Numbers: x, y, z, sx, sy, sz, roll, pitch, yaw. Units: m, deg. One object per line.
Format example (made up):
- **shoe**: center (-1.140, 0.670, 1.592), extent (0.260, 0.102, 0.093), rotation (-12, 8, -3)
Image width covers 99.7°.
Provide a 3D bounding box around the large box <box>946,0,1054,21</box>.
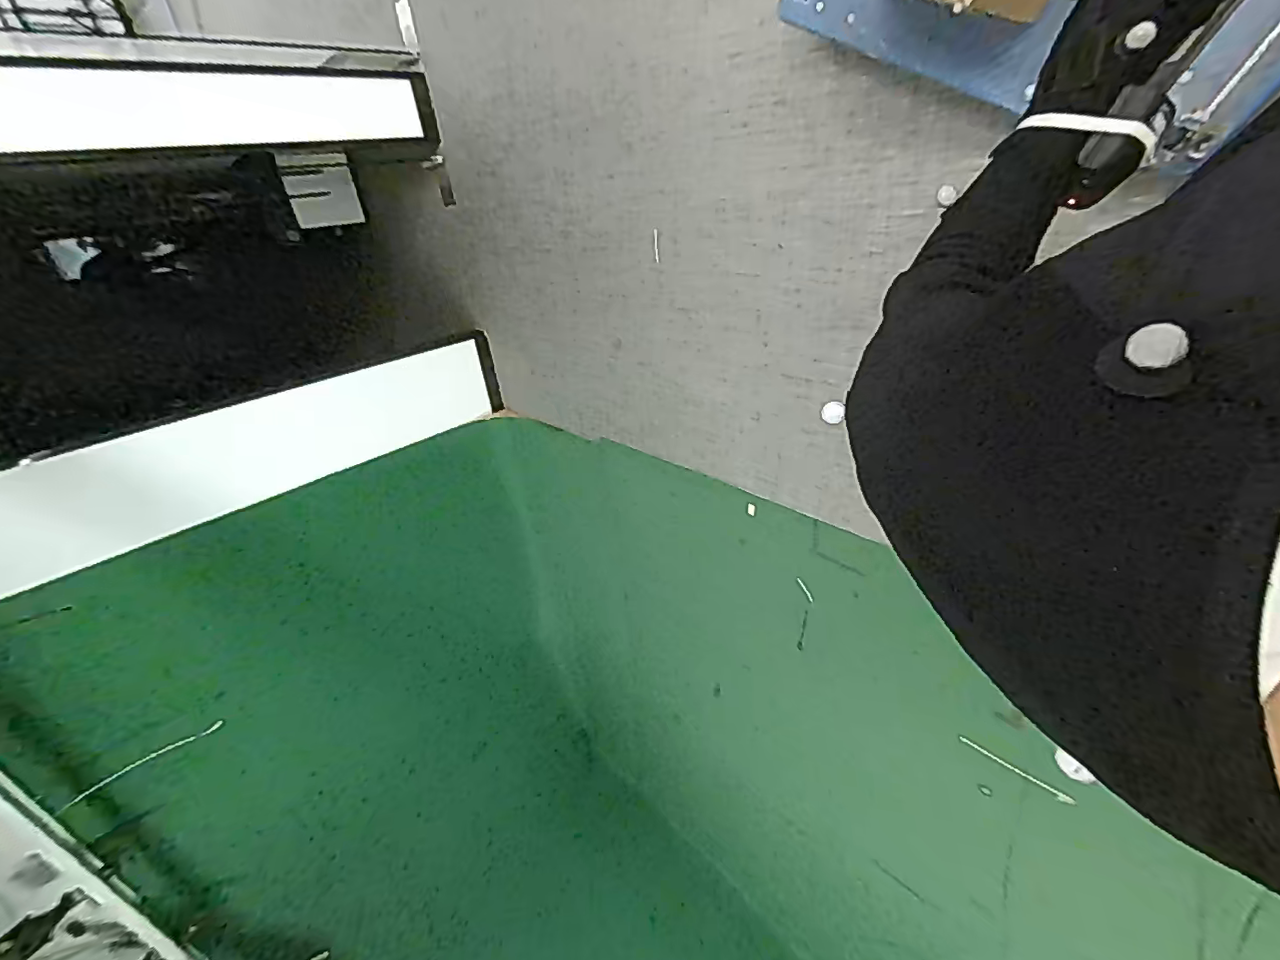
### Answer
- **large box**: center (0.510, -0.941, 0.750), extent (0.320, 0.320, 0.408), rotation (42, 141, 24)
